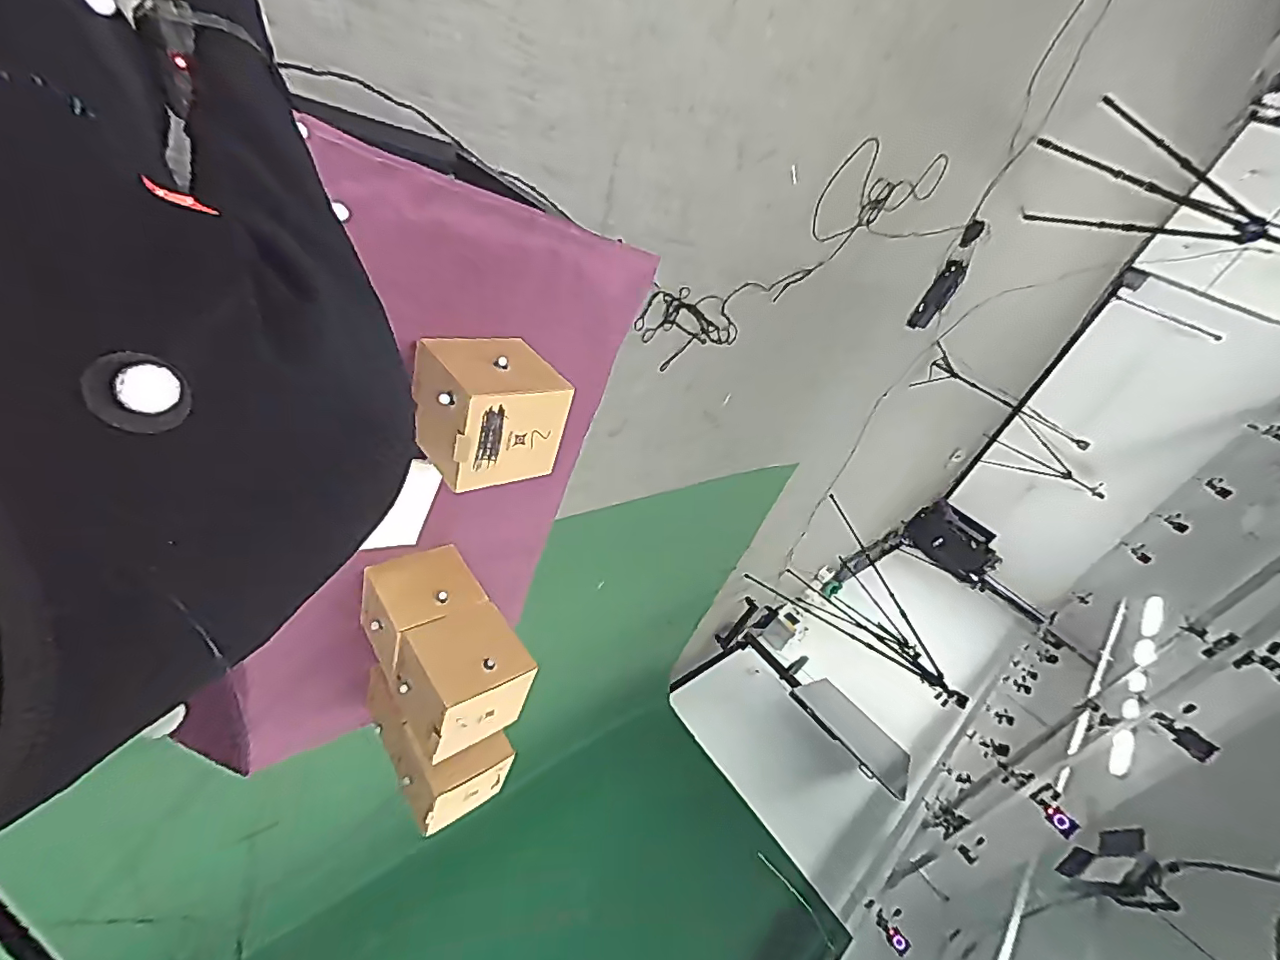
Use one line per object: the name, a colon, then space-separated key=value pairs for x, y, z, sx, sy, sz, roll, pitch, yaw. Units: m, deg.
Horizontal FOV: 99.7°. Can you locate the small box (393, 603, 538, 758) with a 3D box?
small box: x=-0.318 y=0.349 z=0.977 sx=0.179 sy=0.176 sz=0.168 roll=-11 pitch=134 yaw=-45

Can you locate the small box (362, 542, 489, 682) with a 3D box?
small box: x=-0.424 y=0.249 z=1.055 sx=0.179 sy=0.176 sz=0.168 roll=-14 pitch=137 yaw=-43

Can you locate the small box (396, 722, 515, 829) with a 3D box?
small box: x=-0.401 y=0.588 z=1.159 sx=0.179 sy=0.176 sz=0.168 roll=-10 pitch=135 yaw=-44

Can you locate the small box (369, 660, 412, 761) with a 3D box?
small box: x=-0.504 y=0.494 z=1.246 sx=0.179 sy=0.176 sz=0.168 roll=-11 pitch=135 yaw=-45
